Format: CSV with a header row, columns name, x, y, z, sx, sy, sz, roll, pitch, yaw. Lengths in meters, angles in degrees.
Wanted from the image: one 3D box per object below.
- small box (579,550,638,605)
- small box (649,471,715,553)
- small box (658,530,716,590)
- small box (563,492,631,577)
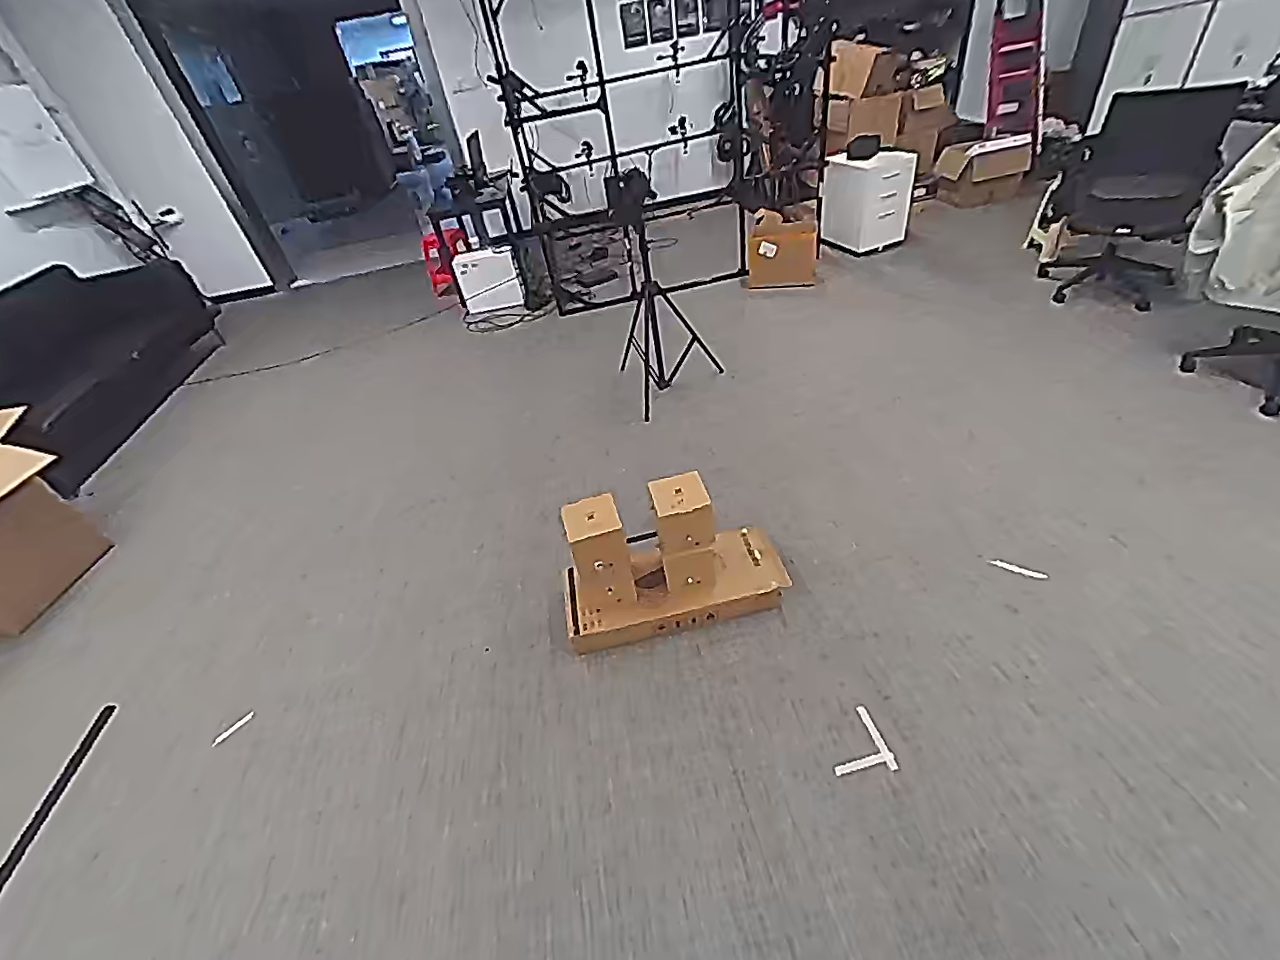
name,x,y,z,sx,sy,sz,roll,pitch,yaw
small box,-0.107,0.296,1.795,0.168,0.176,0.179,-12,39,-1
small box,0.132,0.101,1.713,0.168,0.176,0.179,-14,39,-2
small box,0.155,0.238,1.806,0.168,0.176,0.179,-11,39,1
small box,-0.135,0.172,1.693,0.168,0.176,0.179,-17,40,-6
